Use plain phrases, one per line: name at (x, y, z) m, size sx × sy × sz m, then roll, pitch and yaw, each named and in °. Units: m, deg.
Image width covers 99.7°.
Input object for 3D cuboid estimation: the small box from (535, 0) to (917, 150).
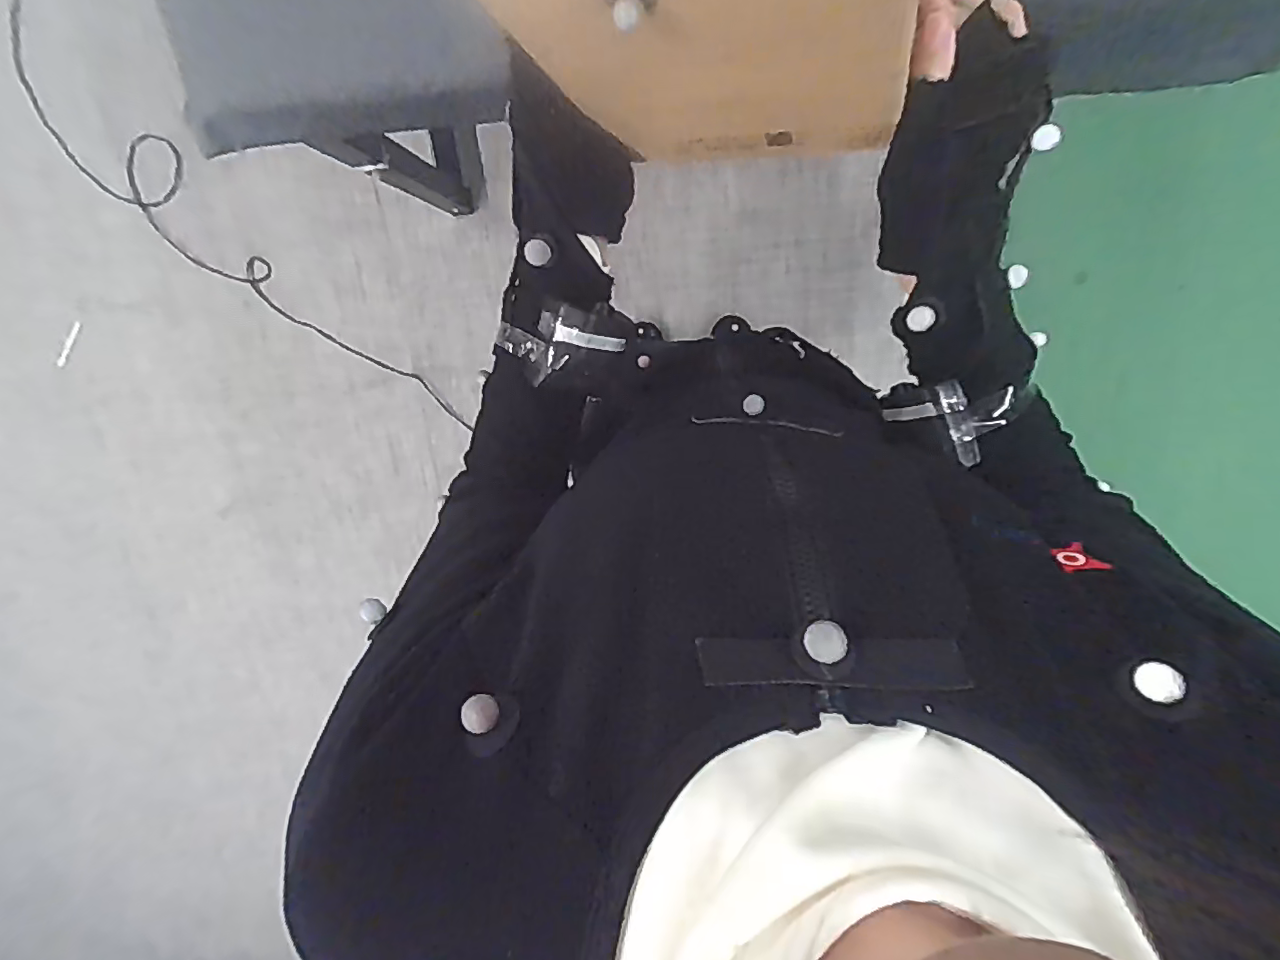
small box at (0.046, -0.280, 0.242) m, size 0.168 × 0.176 × 0.179 m, roll 11°, pitch 99°, yaw 20°
